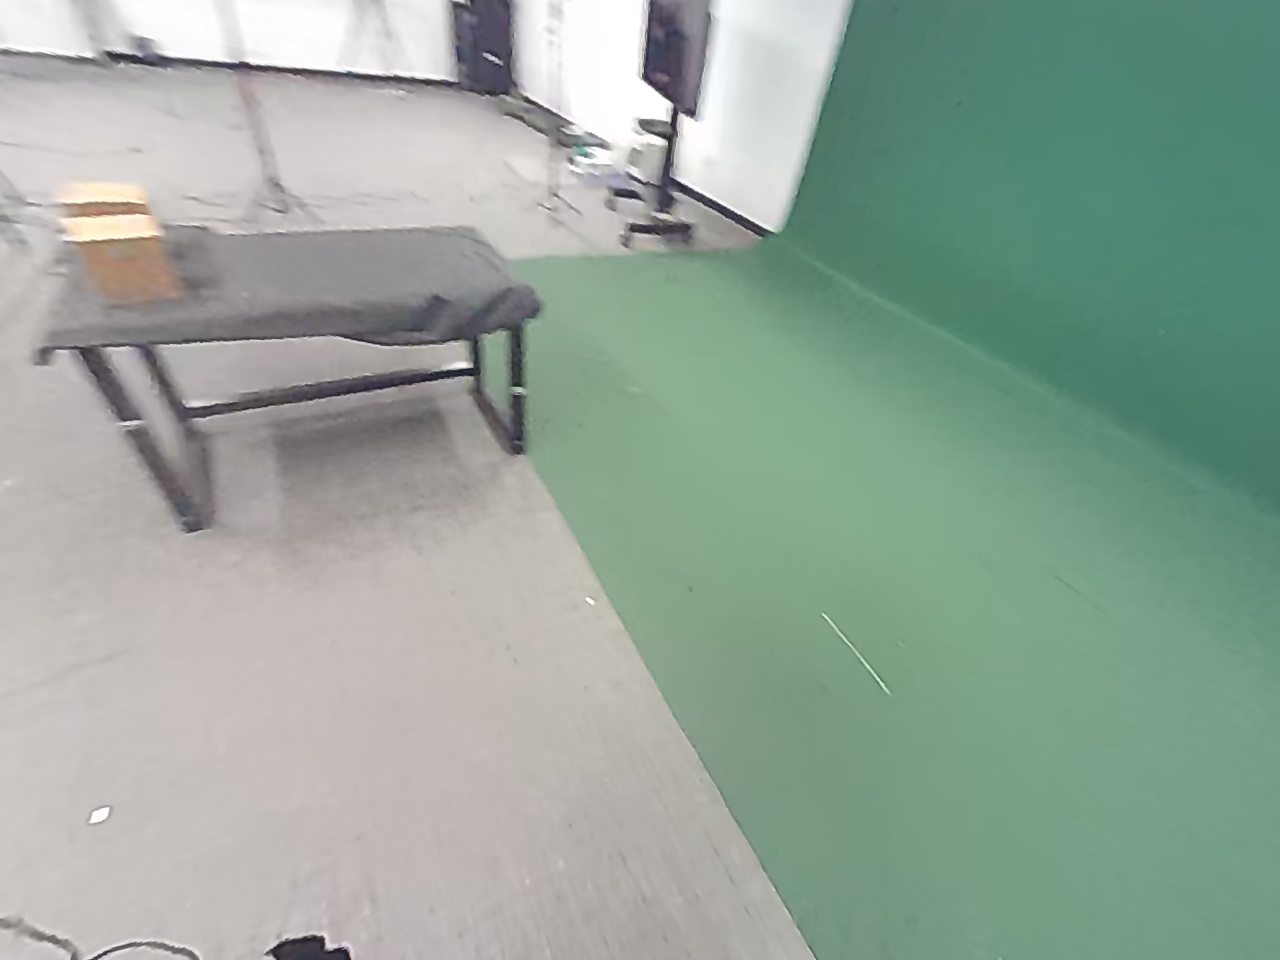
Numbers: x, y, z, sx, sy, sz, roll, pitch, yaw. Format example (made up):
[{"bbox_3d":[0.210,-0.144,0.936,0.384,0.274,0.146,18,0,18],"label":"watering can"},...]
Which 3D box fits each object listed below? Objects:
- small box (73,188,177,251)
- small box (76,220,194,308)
[{"bbox_3d":[-1.485,-0.732,1.574,0.179,0.176,0.168,-15,48,-28],"label":"small box"},{"bbox_3d":[-1.322,-0.567,1.422,0.179,0.176,0.168,-23,51,-34],"label":"small box"}]
